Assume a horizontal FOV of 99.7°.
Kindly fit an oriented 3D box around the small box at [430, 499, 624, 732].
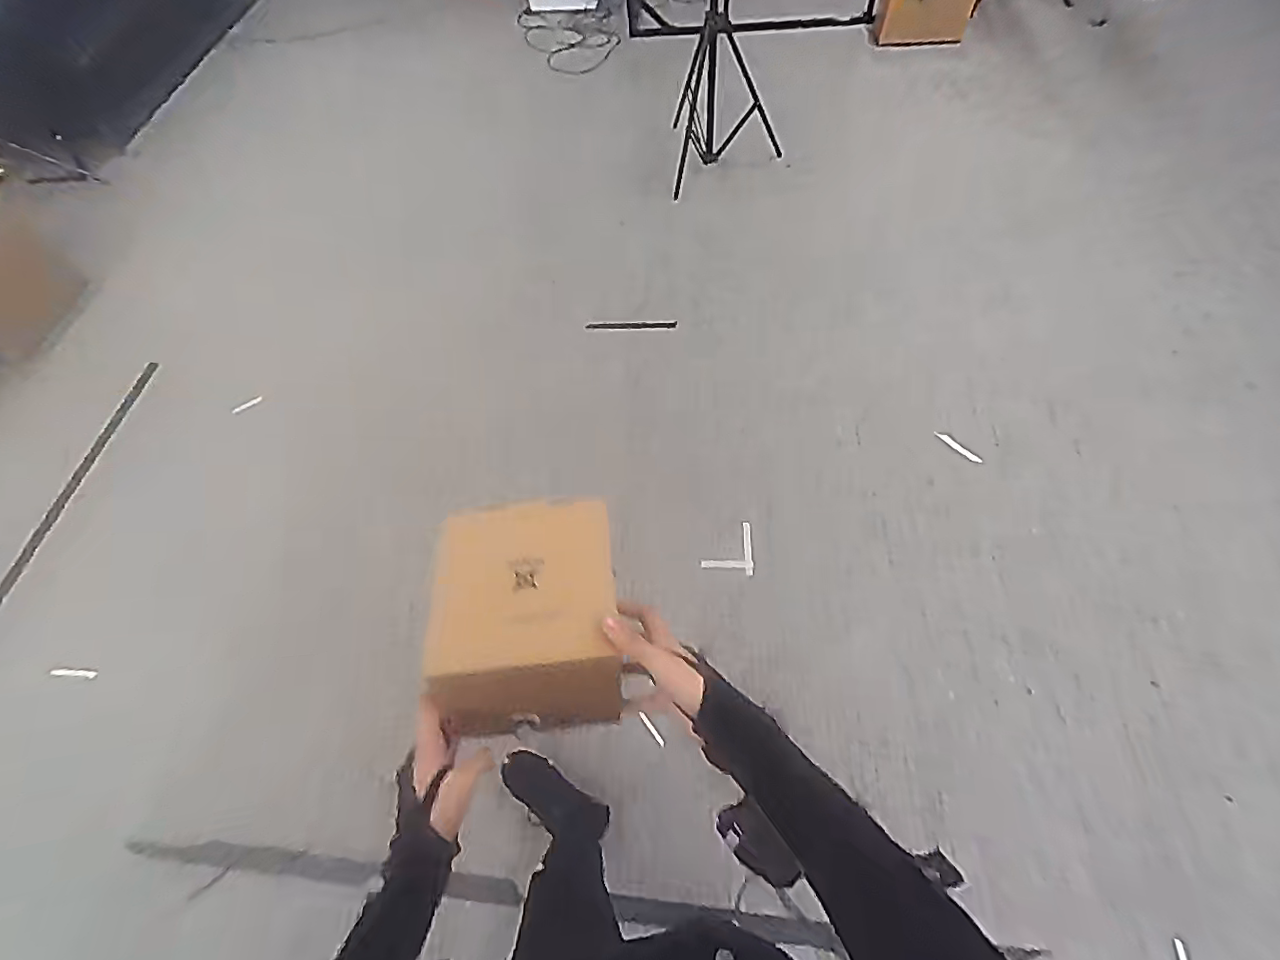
[{"bbox_3d":[-0.106,0.142,0.573,0.168,0.176,0.179,-4,47,-5],"label":"small box"}]
